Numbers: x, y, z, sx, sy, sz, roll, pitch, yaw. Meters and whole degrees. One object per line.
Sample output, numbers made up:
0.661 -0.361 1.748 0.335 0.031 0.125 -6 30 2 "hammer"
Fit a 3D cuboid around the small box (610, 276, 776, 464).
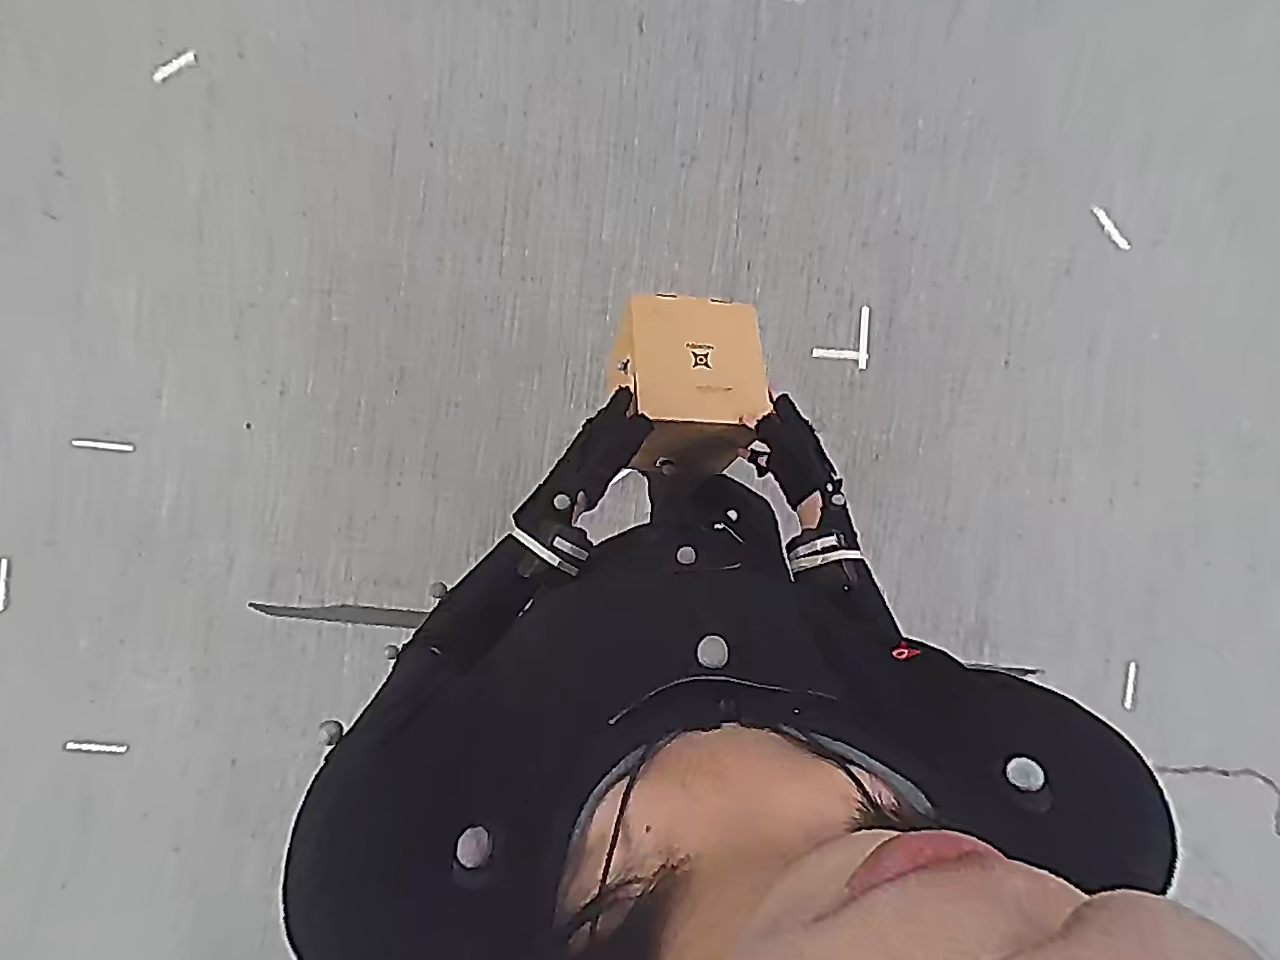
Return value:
0.056 -0.134 0.708 0.168 0.176 0.179 0 70 -13 "small box"
